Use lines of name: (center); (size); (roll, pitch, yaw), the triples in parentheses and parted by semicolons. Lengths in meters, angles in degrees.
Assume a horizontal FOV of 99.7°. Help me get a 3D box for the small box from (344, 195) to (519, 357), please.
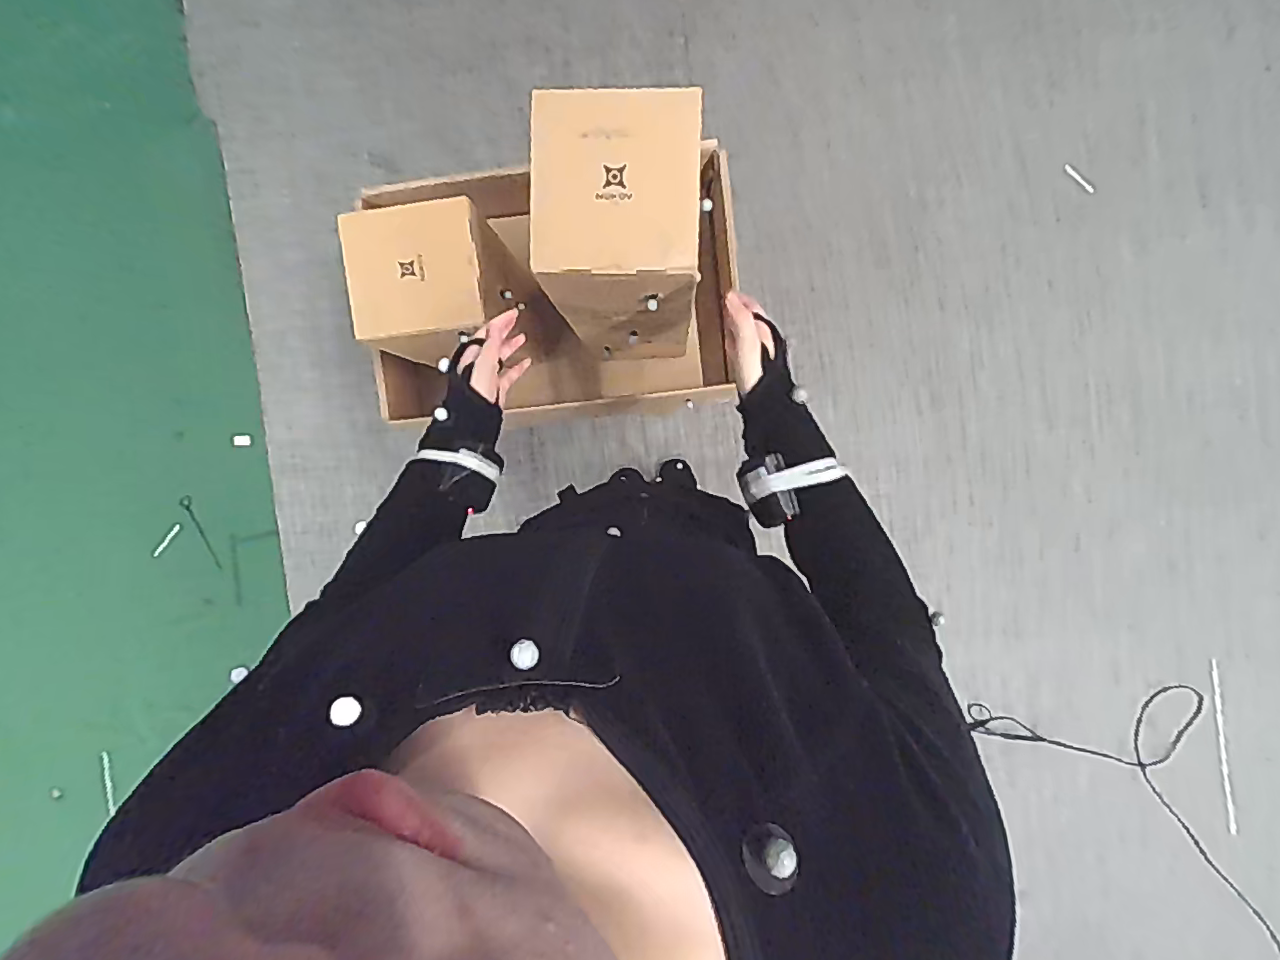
small box: (-0.291, -0.282, 0.787); (0.179, 0.176, 0.168); (-7, 92, 3)

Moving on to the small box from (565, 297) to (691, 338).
small box: (-0.009, -0.301, 0.766); (0.168, 0.176, 0.179); (0, 94, 3)

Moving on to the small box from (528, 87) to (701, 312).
small box: (-0.021, -0.293, 0.602); (0.168, 0.176, 0.179); (2, 92, 3)
